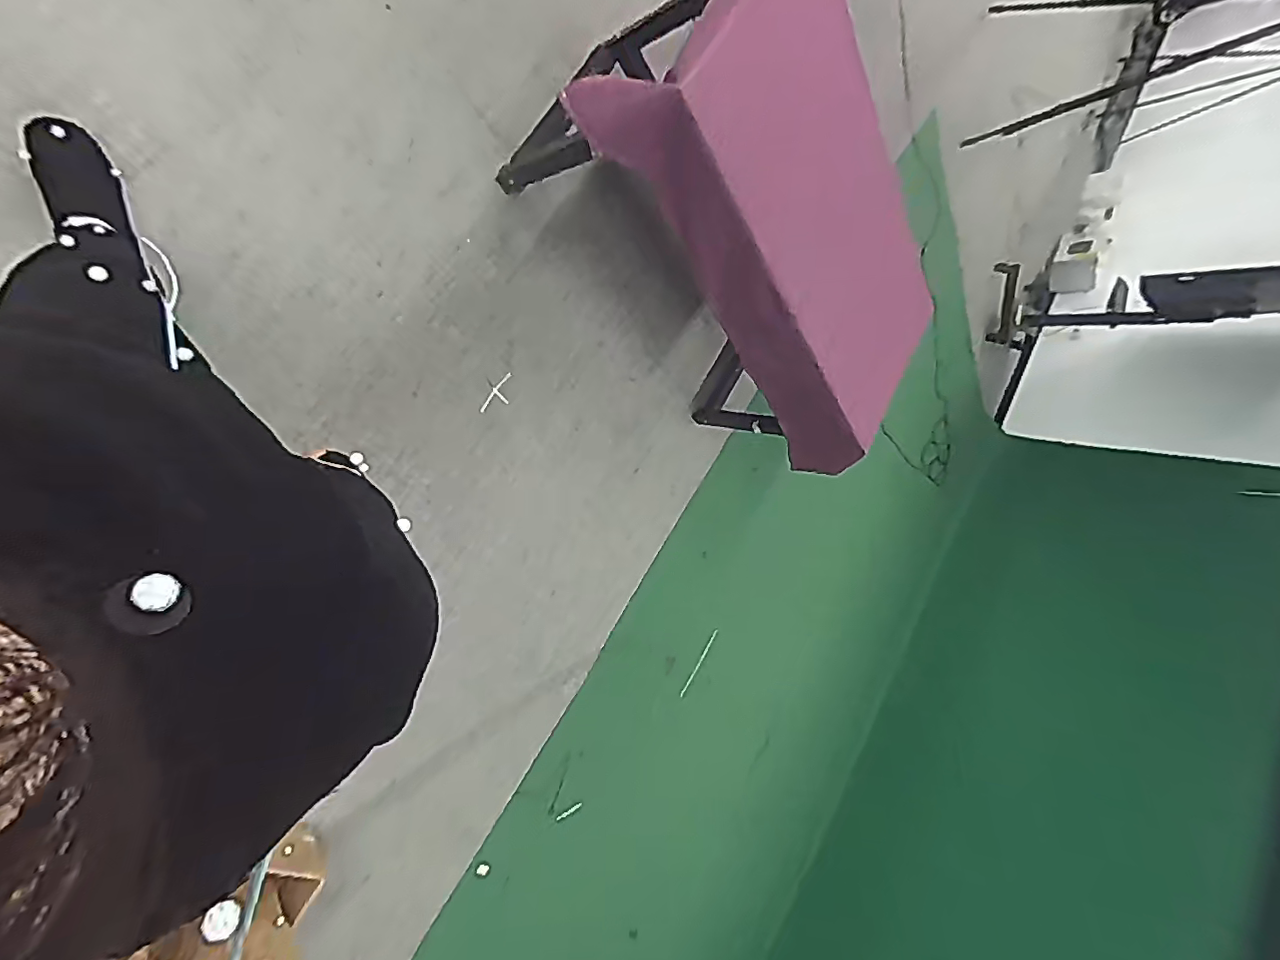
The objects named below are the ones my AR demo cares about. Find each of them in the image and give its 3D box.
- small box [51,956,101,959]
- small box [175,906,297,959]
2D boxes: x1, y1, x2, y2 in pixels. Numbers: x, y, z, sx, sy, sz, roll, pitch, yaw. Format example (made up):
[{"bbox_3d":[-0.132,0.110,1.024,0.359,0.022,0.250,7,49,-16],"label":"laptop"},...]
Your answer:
[{"bbox_3d":[-0.918,0.903,0.841,0.179,0.176,0.168,-55,132,-18],"label":"small box"},{"bbox_3d":[-0.876,1.059,1.148,0.179,0.176,0.168,-51,129,-19],"label":"small box"}]
